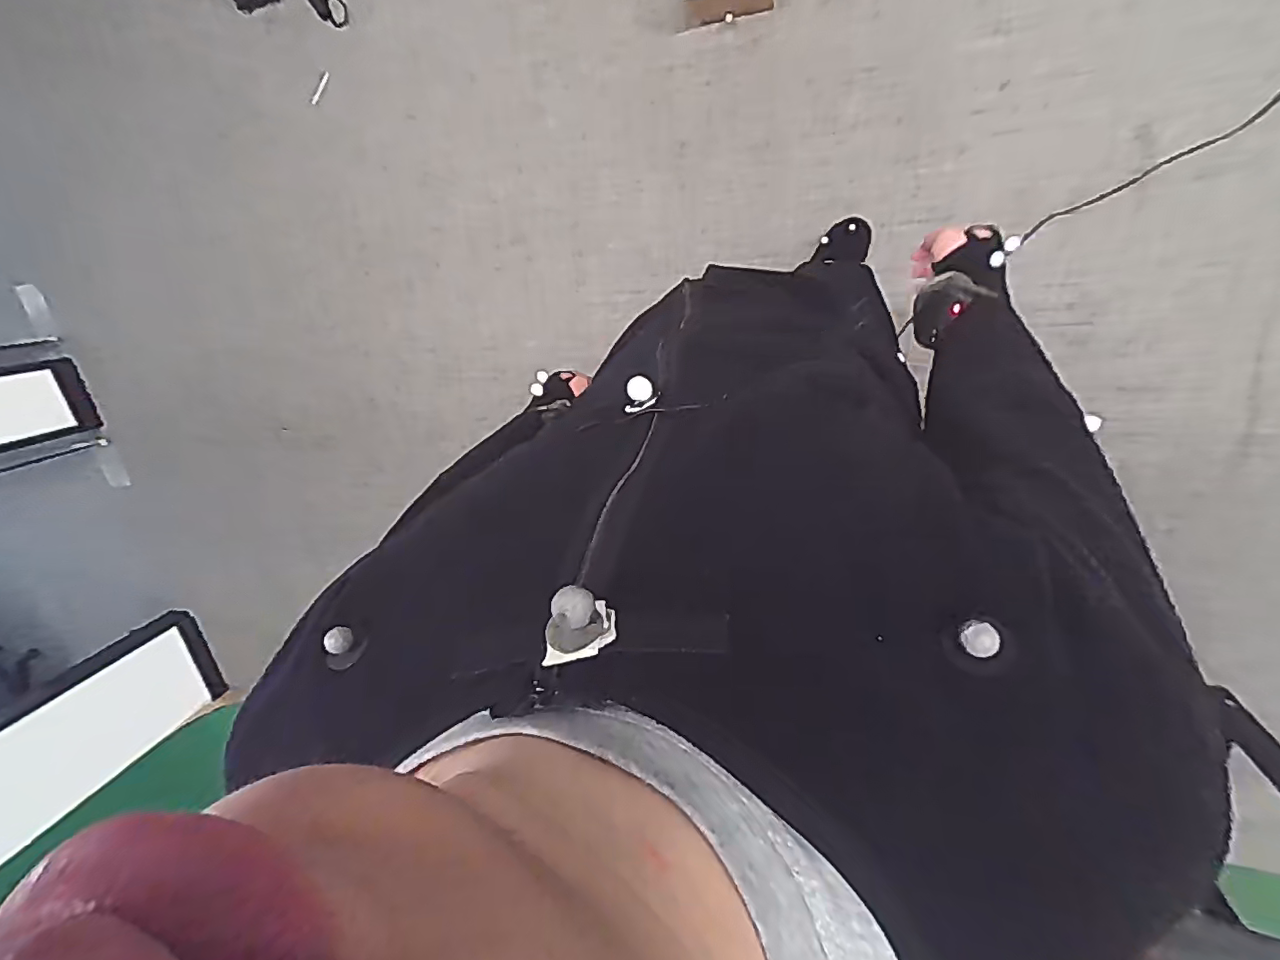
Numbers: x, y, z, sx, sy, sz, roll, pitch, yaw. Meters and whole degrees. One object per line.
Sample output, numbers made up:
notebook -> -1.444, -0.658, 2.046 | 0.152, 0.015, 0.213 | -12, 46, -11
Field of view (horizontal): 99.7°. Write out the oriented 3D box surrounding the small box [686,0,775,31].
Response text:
small box -> 0.181, -1.046, 1.078 | 0.168, 0.176, 0.179 | 1, 114, 18
